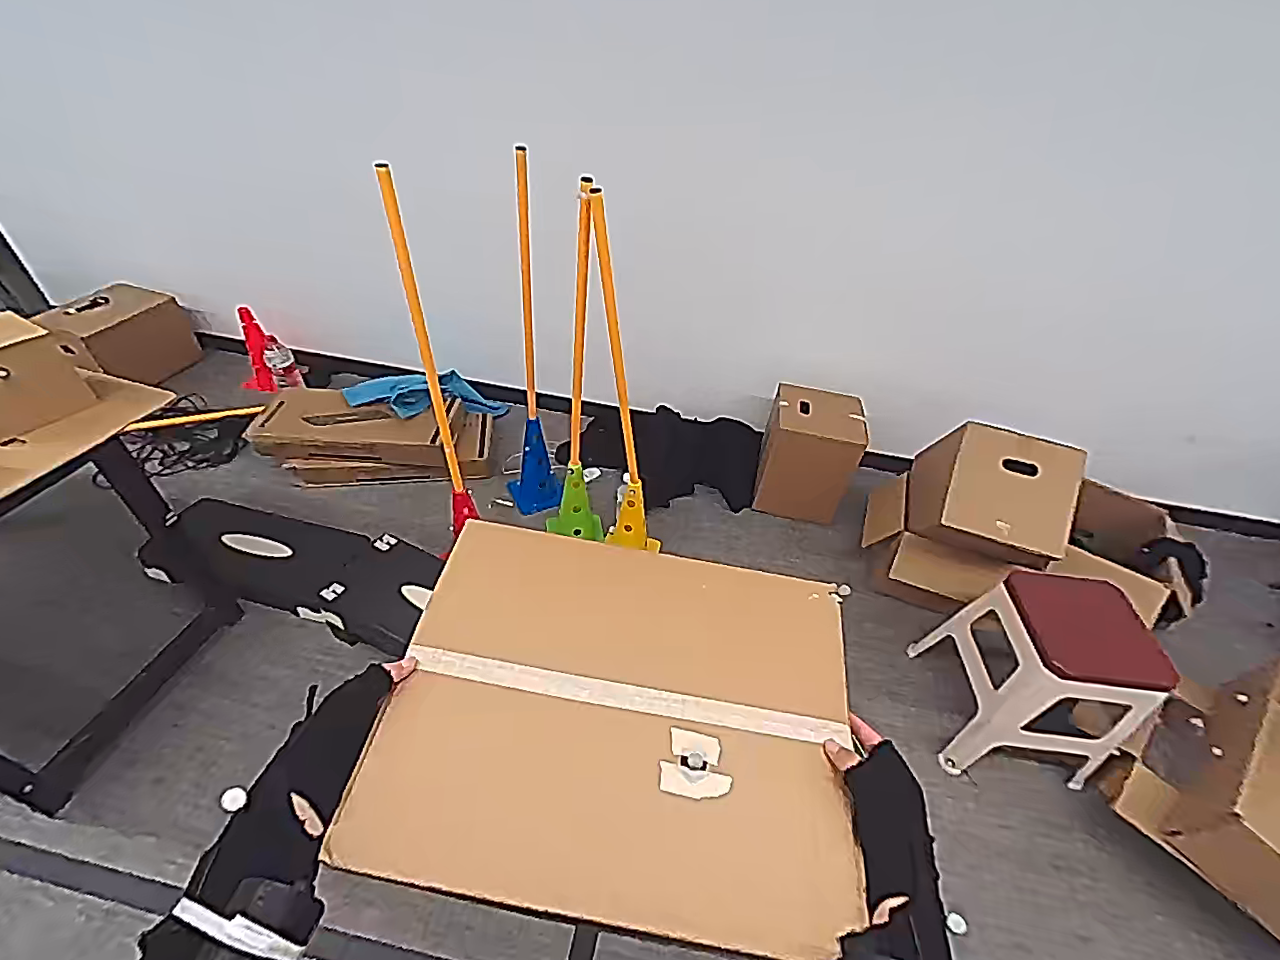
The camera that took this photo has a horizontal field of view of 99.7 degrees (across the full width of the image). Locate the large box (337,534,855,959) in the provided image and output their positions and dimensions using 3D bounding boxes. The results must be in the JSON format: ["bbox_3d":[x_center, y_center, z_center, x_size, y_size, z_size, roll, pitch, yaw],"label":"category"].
[{"bbox_3d":[-0.029,0.300,0.610,0.408,0.320,0.320,10,51,2],"label":"large box"}]
